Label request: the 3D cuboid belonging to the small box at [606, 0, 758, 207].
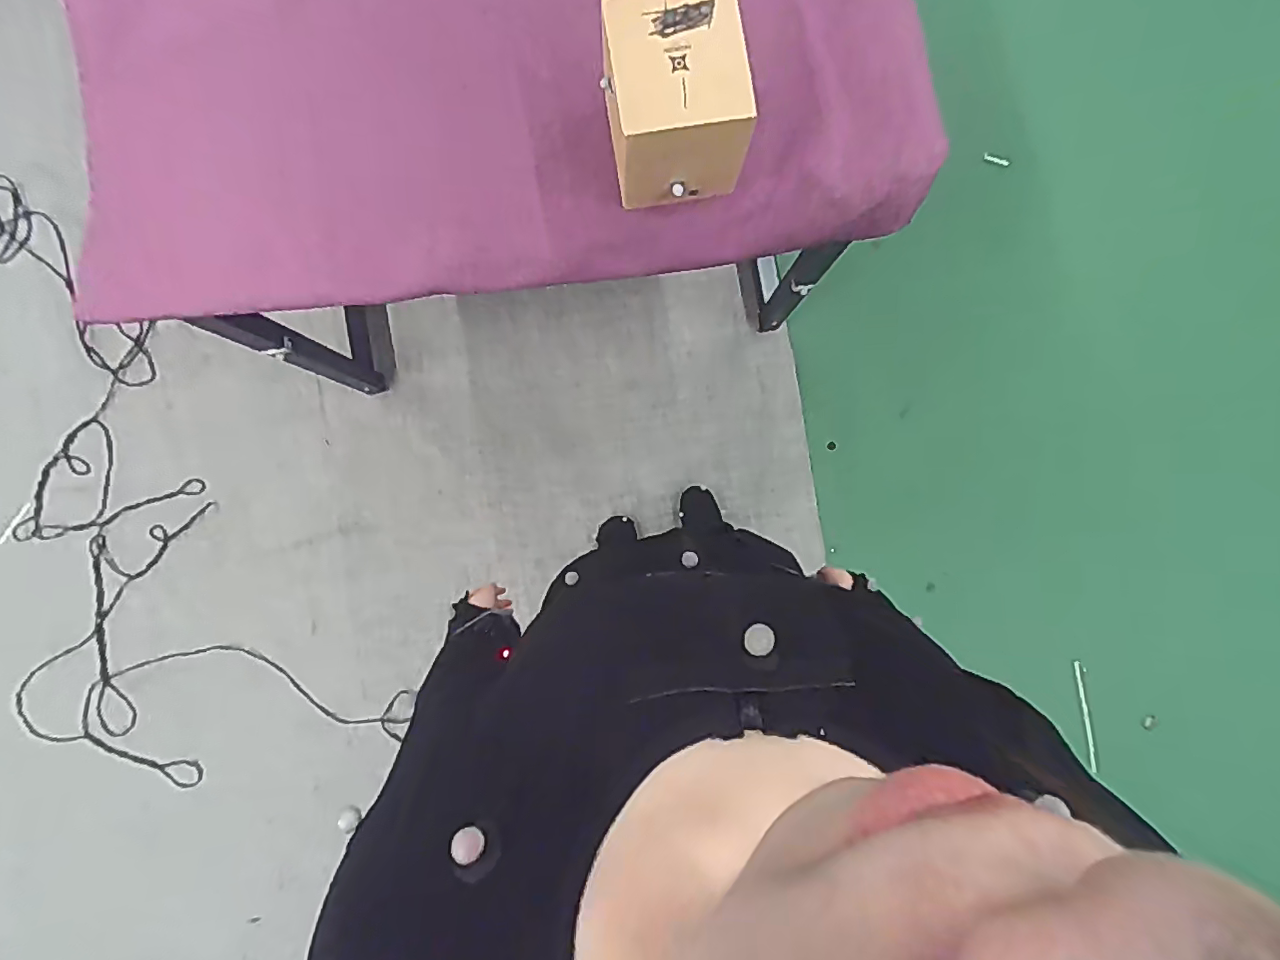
[{"bbox_3d":[0.047,-0.503,0.726,0.168,0.176,0.179,-9,88,-1],"label":"small box"}]
